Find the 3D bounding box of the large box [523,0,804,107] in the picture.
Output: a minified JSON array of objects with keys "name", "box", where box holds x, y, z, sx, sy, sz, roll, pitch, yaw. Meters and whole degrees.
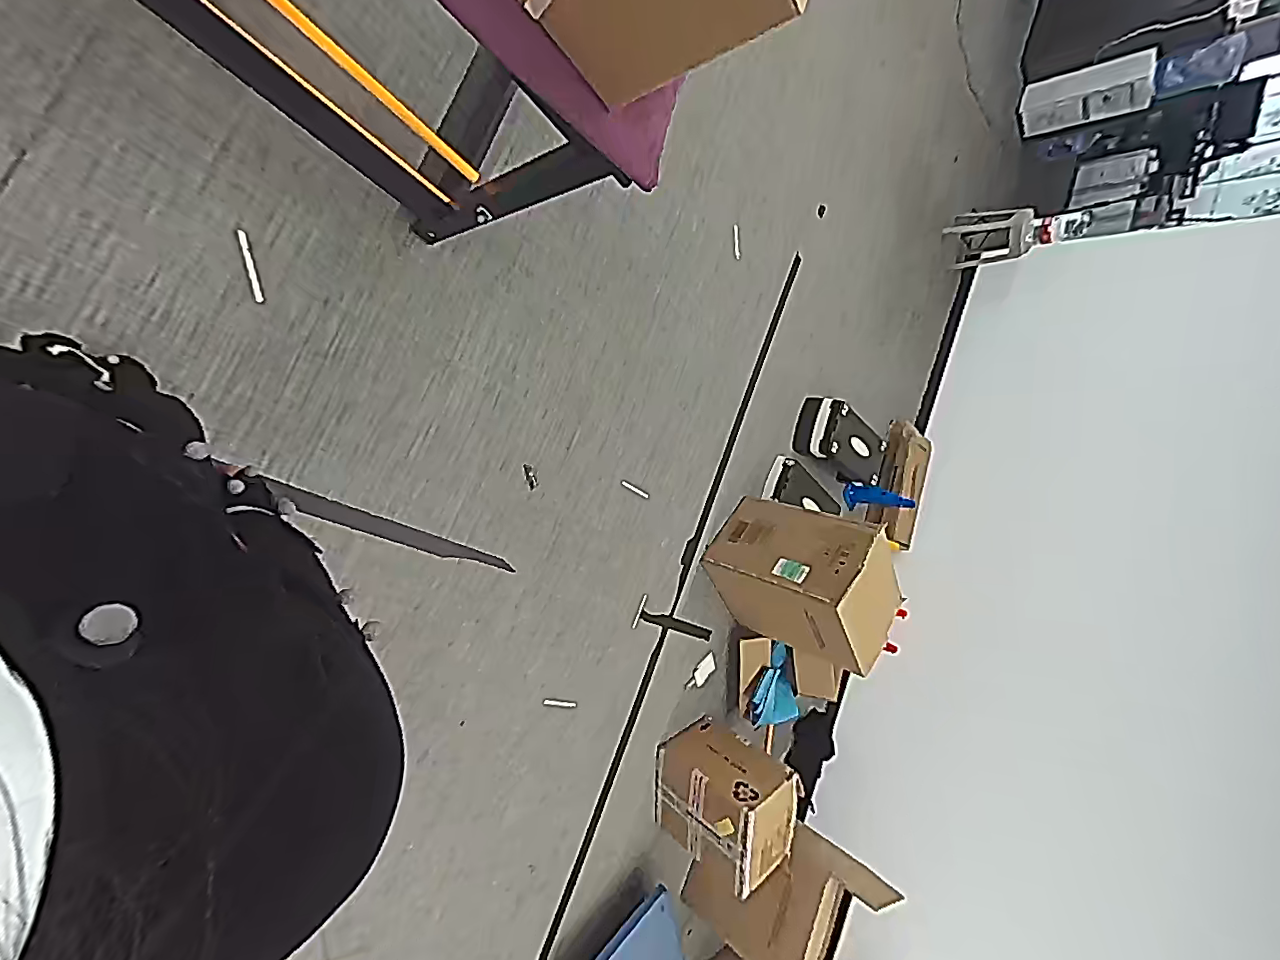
[{"name":"large box","box":[0.033,-0.750,0.608,0.320,0.320,0.408,30,76,-45]}]
